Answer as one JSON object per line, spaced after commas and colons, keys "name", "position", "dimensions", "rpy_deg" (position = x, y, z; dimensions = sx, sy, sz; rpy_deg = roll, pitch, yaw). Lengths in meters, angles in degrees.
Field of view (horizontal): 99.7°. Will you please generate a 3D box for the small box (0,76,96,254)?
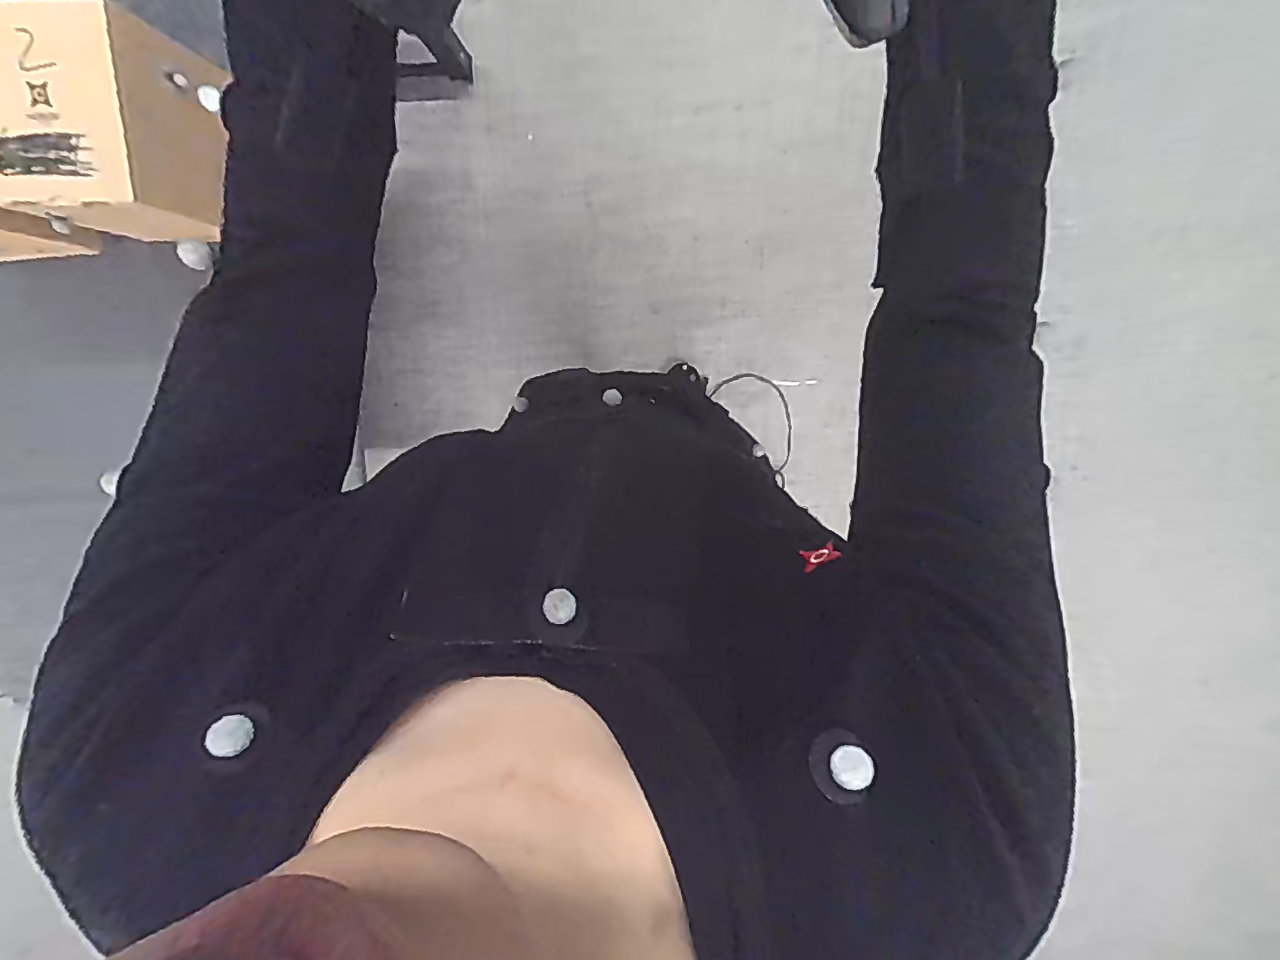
{"name": "small box", "position": [-0.784, -0.362, 0.602], "dimensions": [0.168, 0.176, 0.179], "rpy_deg": [-3, 104, 3]}
